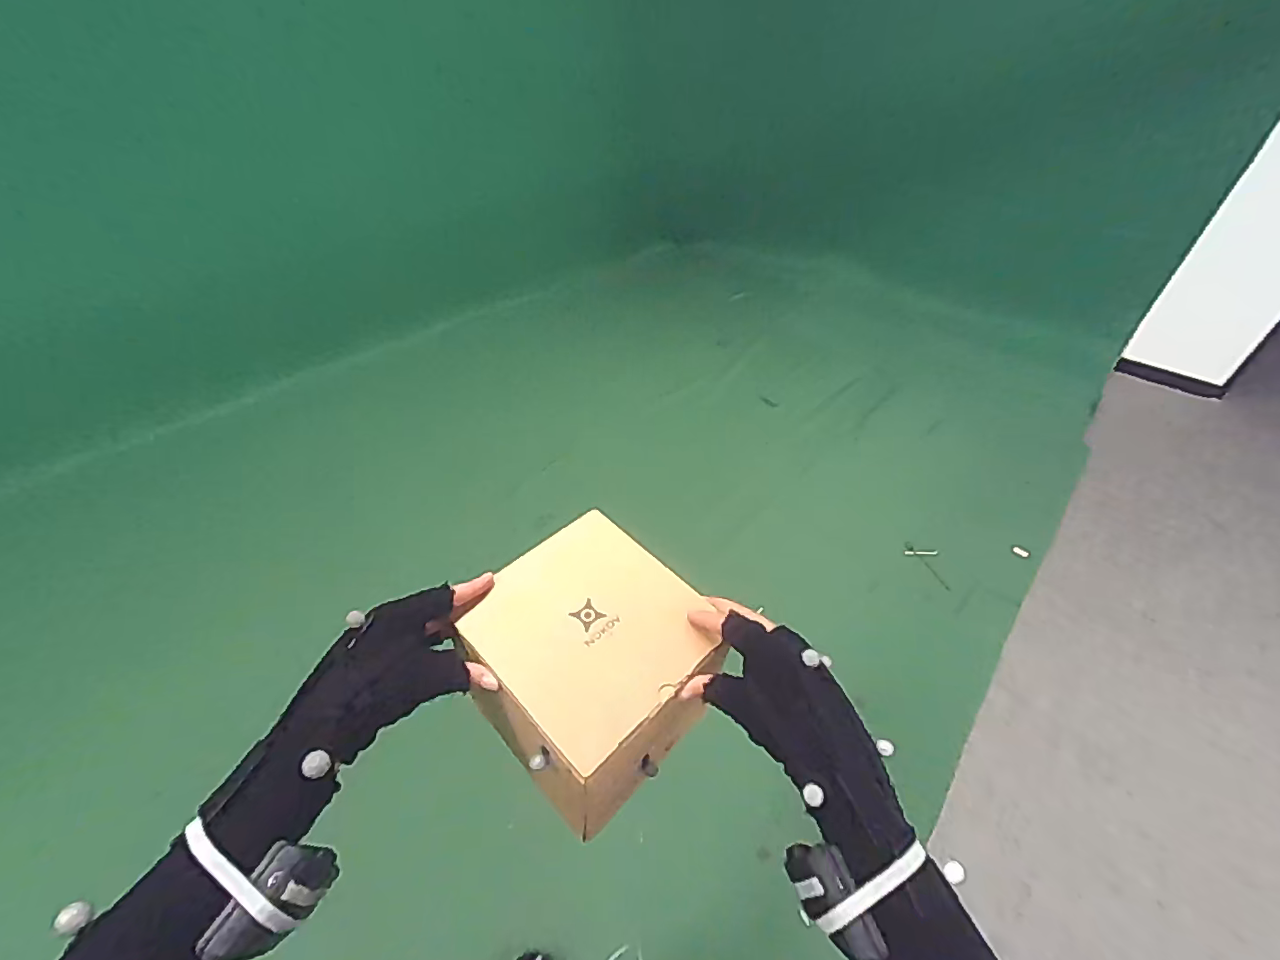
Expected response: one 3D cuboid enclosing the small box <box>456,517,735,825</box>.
[{"bbox_3d":[-0.044,0.174,0.501,0.168,0.176,0.179,-33,57,-33],"label":"small box"}]
